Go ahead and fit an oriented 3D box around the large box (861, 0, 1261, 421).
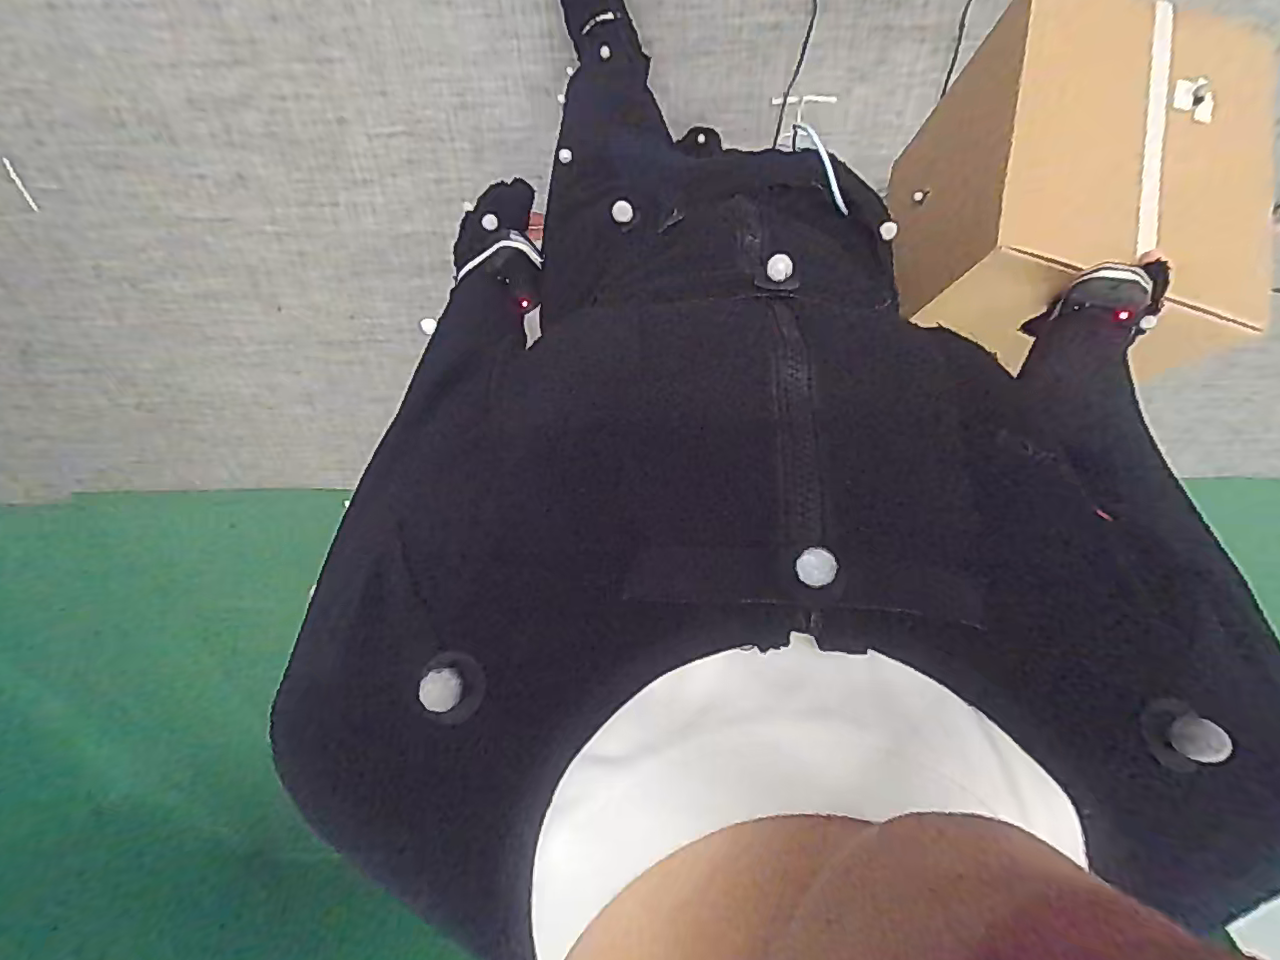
[{"bbox_3d":[0.552,-0.346,0.763,0.320,0.408,0.320,16,166,-3],"label":"large box"}]
